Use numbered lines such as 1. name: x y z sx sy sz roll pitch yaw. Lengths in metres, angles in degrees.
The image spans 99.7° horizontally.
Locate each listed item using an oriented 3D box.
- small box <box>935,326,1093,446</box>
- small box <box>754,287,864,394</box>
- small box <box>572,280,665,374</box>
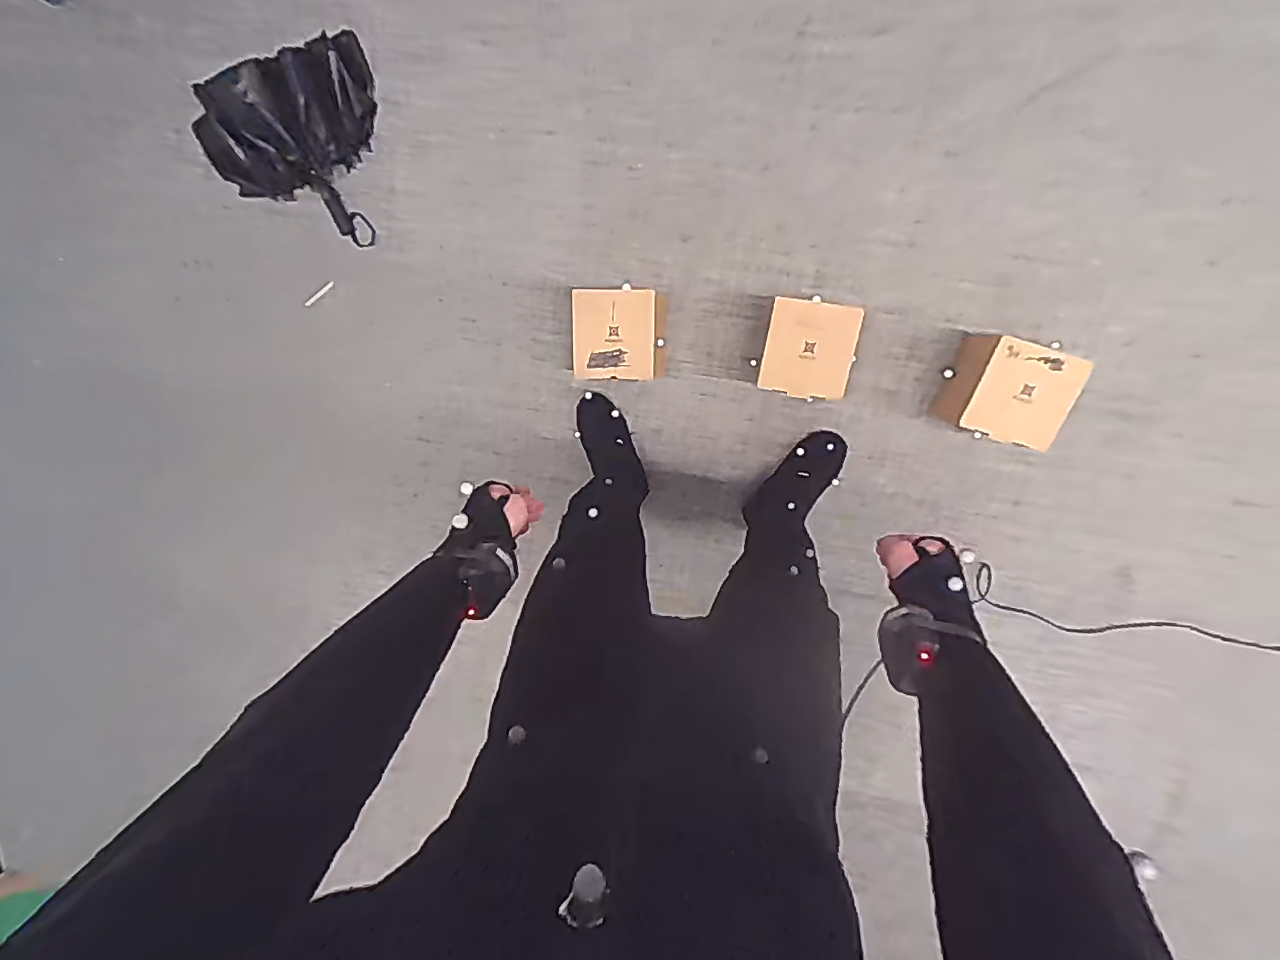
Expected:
1. small box: 0.705 -0.189 1.049 0.168 0.176 0.179 20 110 4
2. small box: 0.327 -0.280 1.085 0.168 0.176 0.179 10 107 5
3. small box: -0.039 -0.320 1.131 0.168 0.176 0.179 3 106 8
